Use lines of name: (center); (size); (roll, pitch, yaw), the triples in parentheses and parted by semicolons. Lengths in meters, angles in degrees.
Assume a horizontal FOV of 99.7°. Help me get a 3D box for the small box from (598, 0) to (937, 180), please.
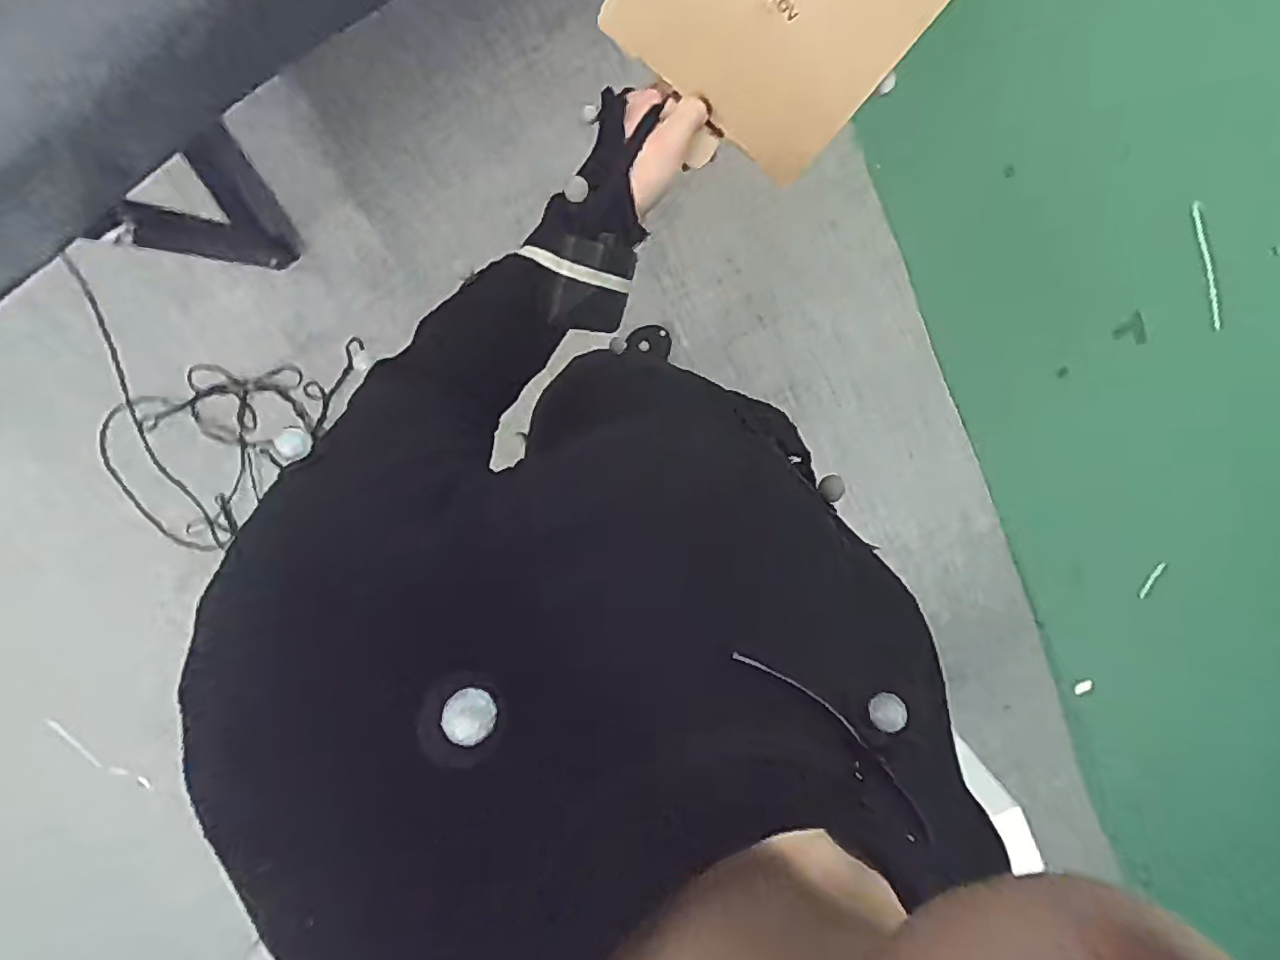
small box: (0.097, -0.351, 0.354); (0.168, 0.176, 0.179); (30, 137, -16)
